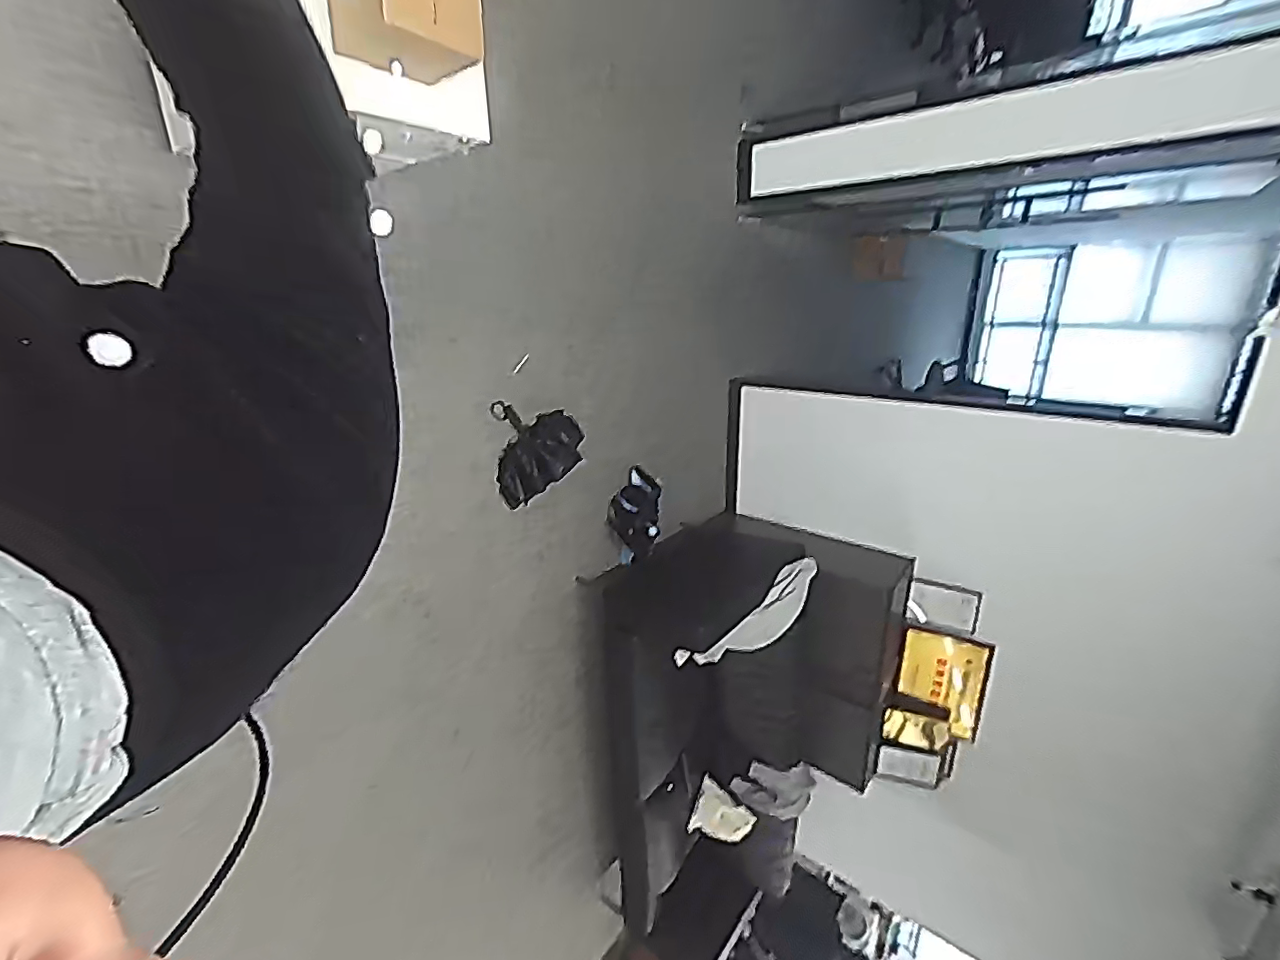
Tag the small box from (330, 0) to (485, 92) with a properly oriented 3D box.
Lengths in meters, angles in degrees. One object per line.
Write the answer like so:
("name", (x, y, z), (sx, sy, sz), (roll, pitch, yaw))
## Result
("small box", (-0.361, -0.738, 0.831), (0.168, 0.176, 0.179), (-18, 116, -47))
